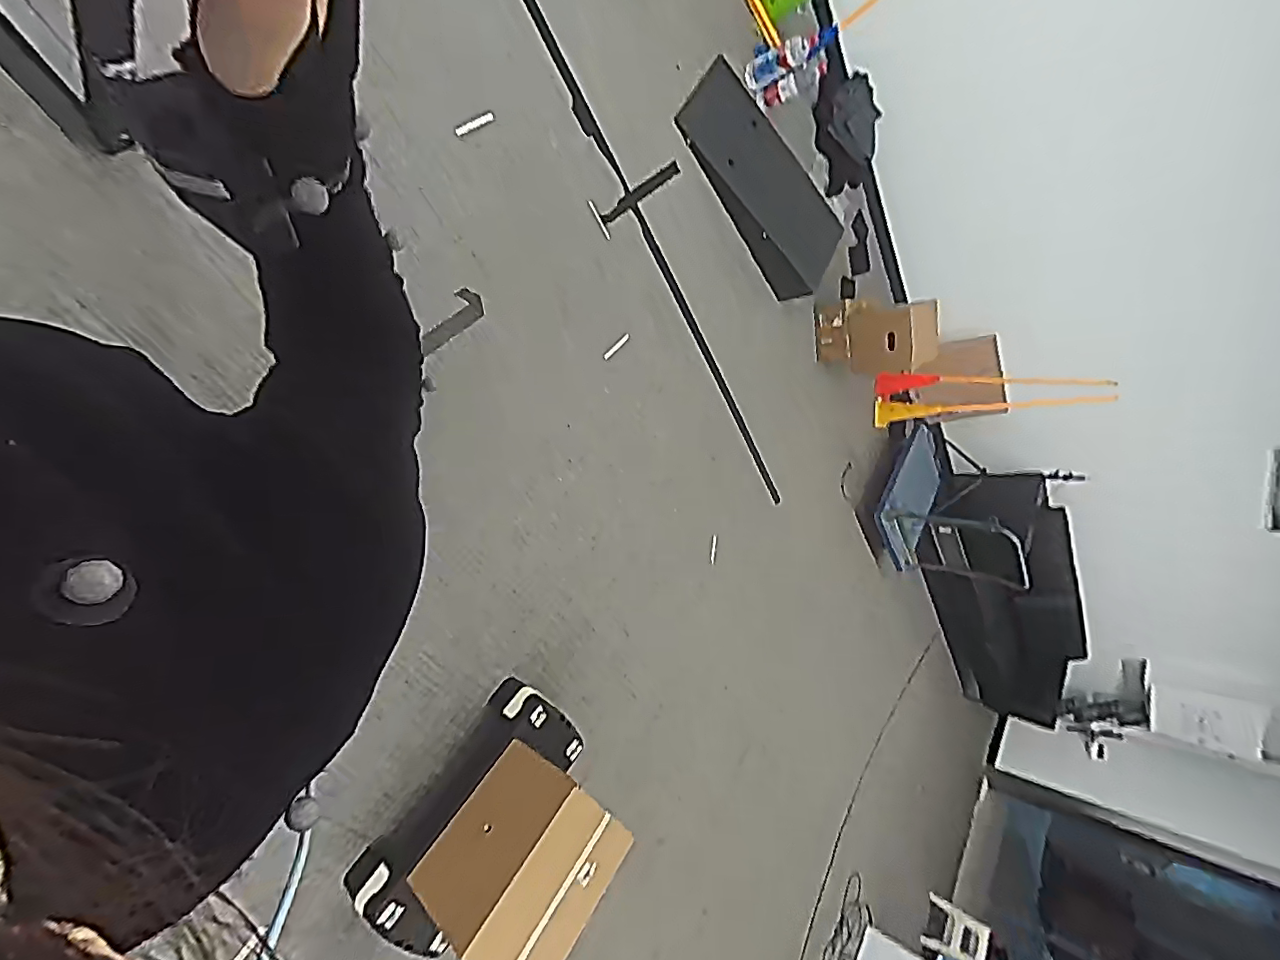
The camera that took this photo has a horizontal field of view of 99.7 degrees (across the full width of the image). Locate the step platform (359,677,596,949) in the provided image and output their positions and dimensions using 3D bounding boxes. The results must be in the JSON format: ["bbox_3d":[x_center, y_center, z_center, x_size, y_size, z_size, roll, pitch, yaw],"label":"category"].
[{"bbox_3d":[-0.438,0.939,1.587,0.684,0.204,0.286,-45,120,-33],"label":"step platform"}]

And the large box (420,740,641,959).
[{"bbox_3d":[-0.278,0.984,1.411,0.408,0.320,0.320,-50,123,-31],"label":"large box"}]
